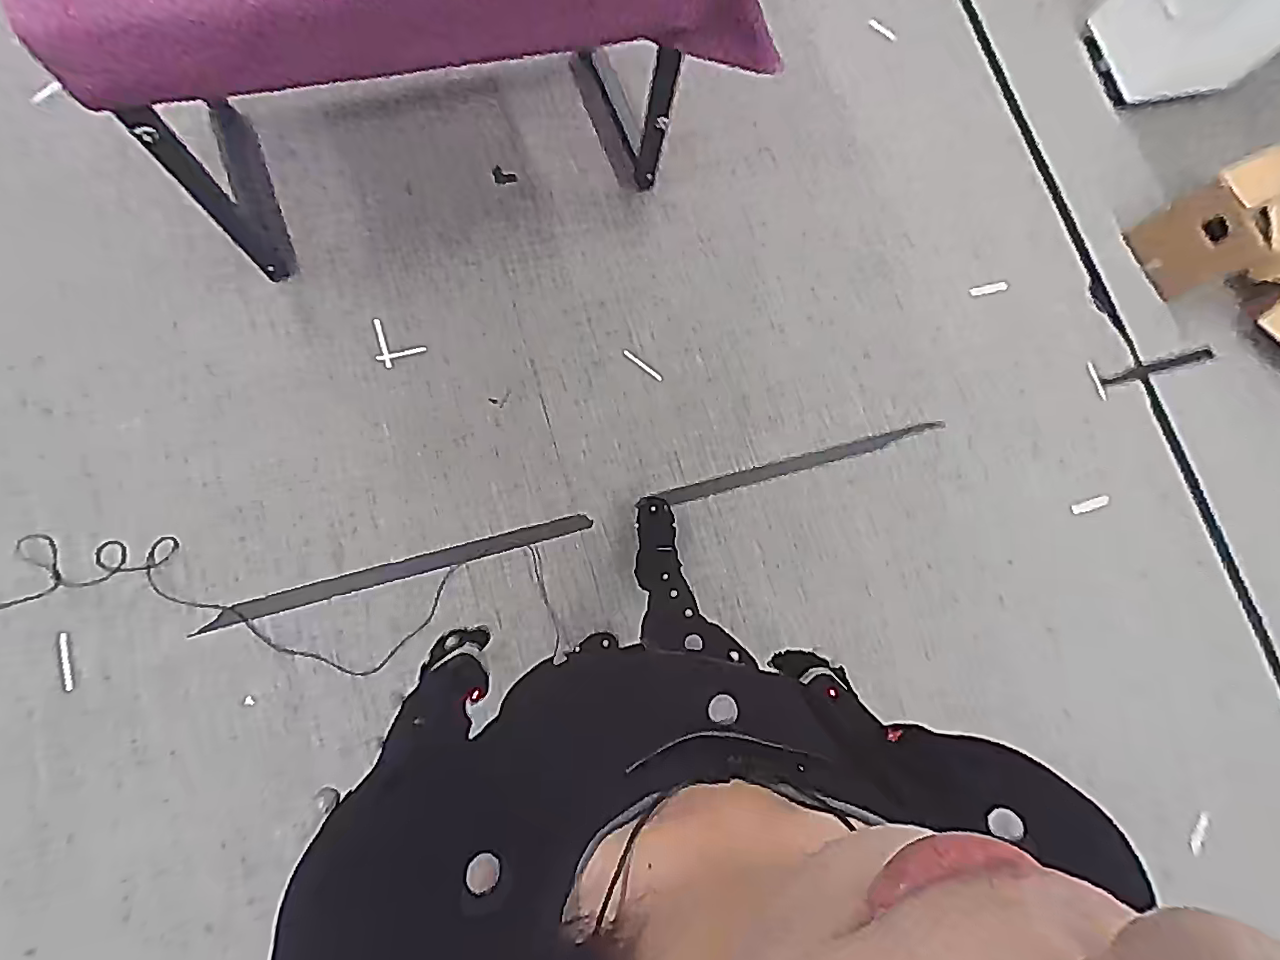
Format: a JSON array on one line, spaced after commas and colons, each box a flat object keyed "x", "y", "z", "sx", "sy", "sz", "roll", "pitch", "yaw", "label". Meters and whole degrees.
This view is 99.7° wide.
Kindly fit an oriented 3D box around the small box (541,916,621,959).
[{"x": -0.123, "y": 1.138, "z": 1.210, "sx": 0.179, "sy": 0.176, "sz": 0.168, "roll": -15, "pitch": 81, "yaw": -12, "label": "small box"}]
